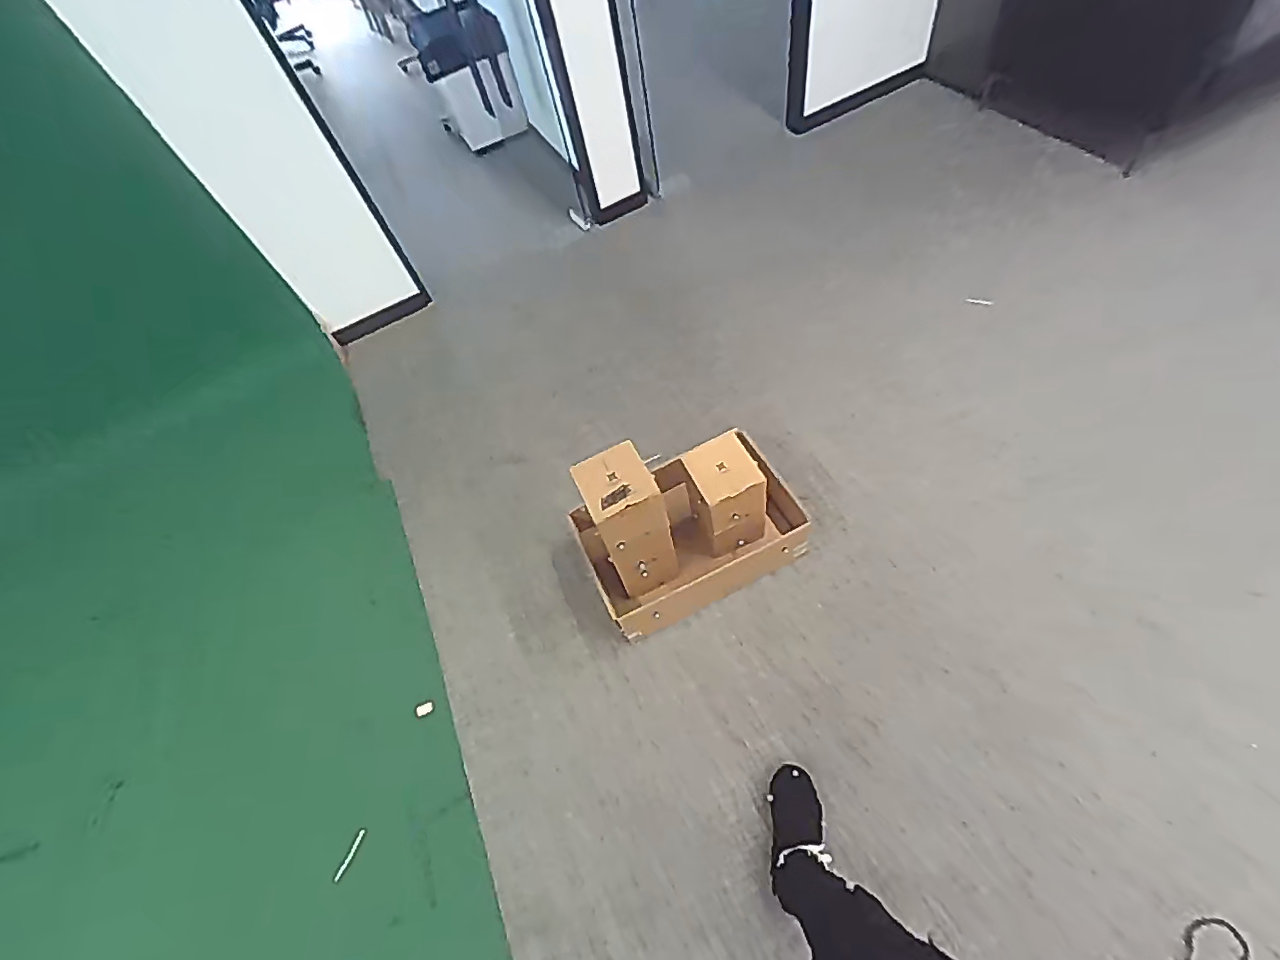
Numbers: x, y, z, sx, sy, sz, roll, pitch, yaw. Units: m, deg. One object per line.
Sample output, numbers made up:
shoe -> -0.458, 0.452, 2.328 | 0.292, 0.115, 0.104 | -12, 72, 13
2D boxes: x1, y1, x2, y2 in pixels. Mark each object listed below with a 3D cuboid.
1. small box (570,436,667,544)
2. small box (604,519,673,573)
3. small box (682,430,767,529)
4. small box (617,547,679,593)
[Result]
small box -> -0.047, 0.033, 1.306 | 0.168, 0.176, 0.179 | -26, 56, -6
small box -> -0.023, 0.117, 1.445 | 0.168, 0.176, 0.179 | -24, 57, -5
small box -> 0.228, 0.002, 1.471 | 0.168, 0.176, 0.179 | -24, 58, -5
small box -> 0.002, 0.202, 1.582 | 0.168, 0.176, 0.179 | -24, 56, -4
